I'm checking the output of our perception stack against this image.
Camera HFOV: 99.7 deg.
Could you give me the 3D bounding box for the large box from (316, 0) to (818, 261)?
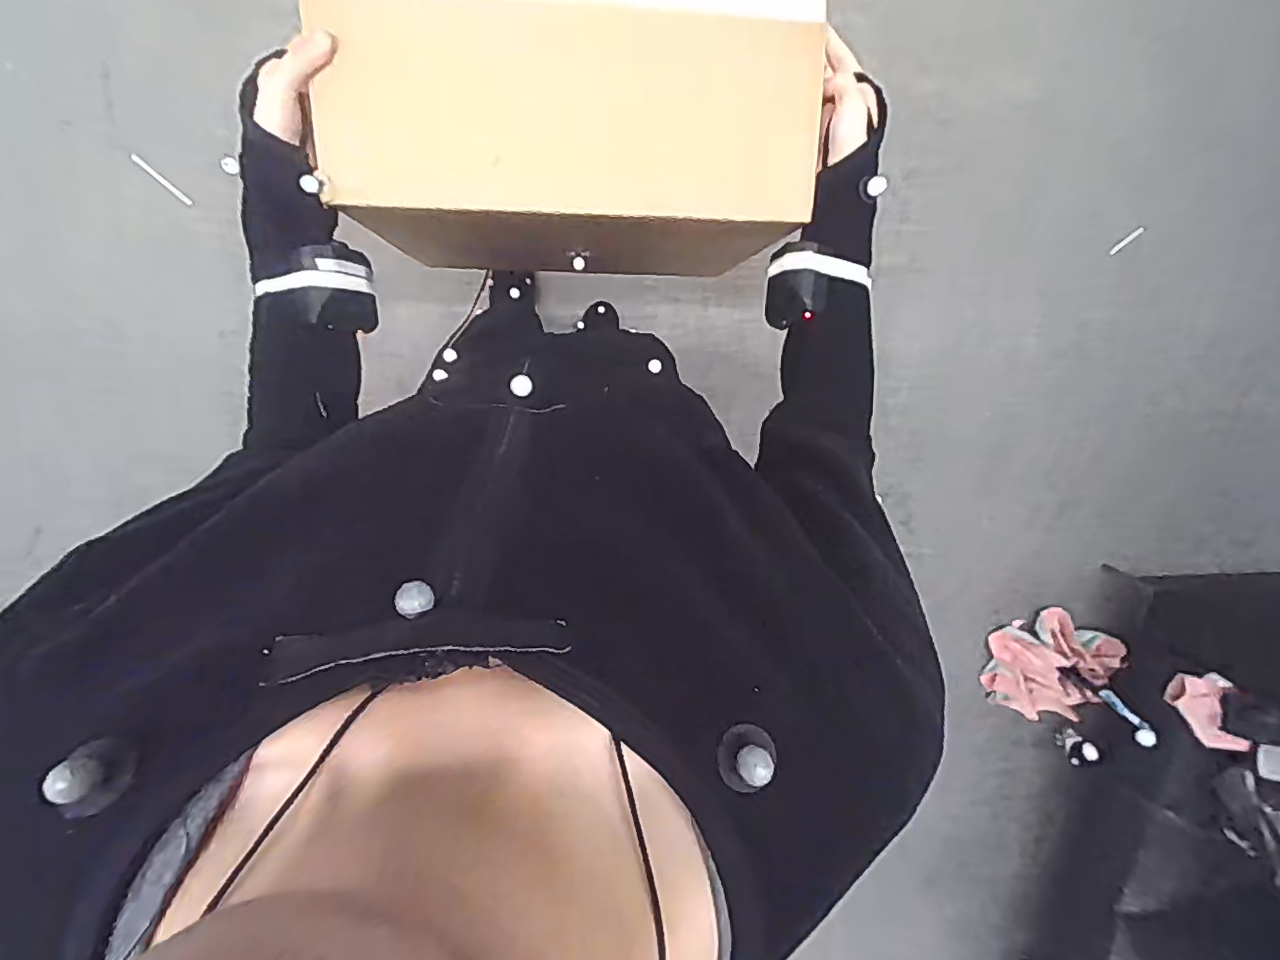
[{"bbox_3d":[-0.064,-0.417,0.571,0.408,0.320,0.320,-1,102,-6],"label":"large box"}]
